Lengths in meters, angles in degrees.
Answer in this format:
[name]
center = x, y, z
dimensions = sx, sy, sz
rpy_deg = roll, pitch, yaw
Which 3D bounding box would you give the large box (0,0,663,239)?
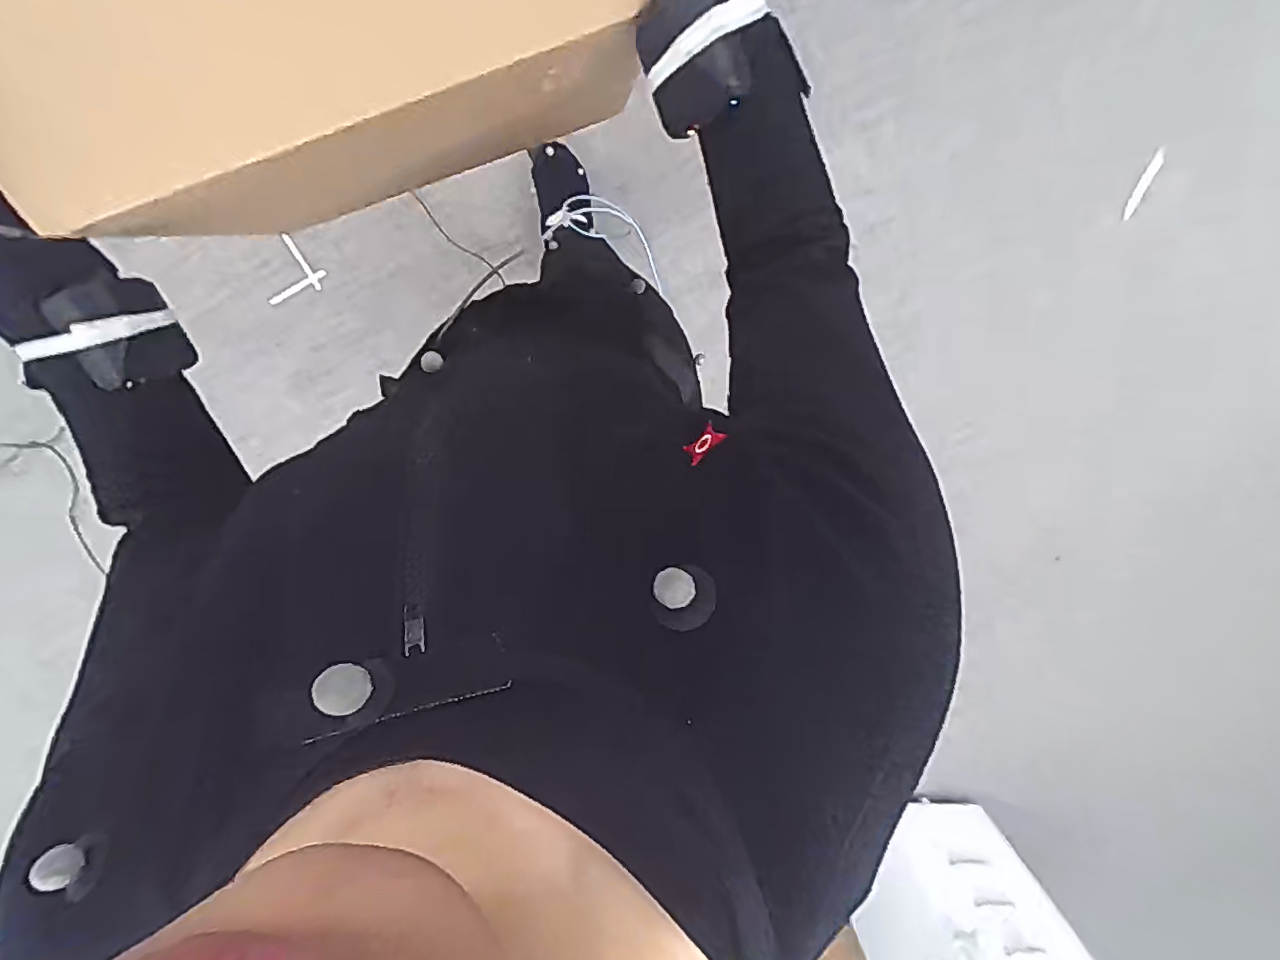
[large box]
center = -0.235, -0.408, 0.406
dimensions = 0.408, 0.320, 0.320
rpy_deg = -20, 116, 2
